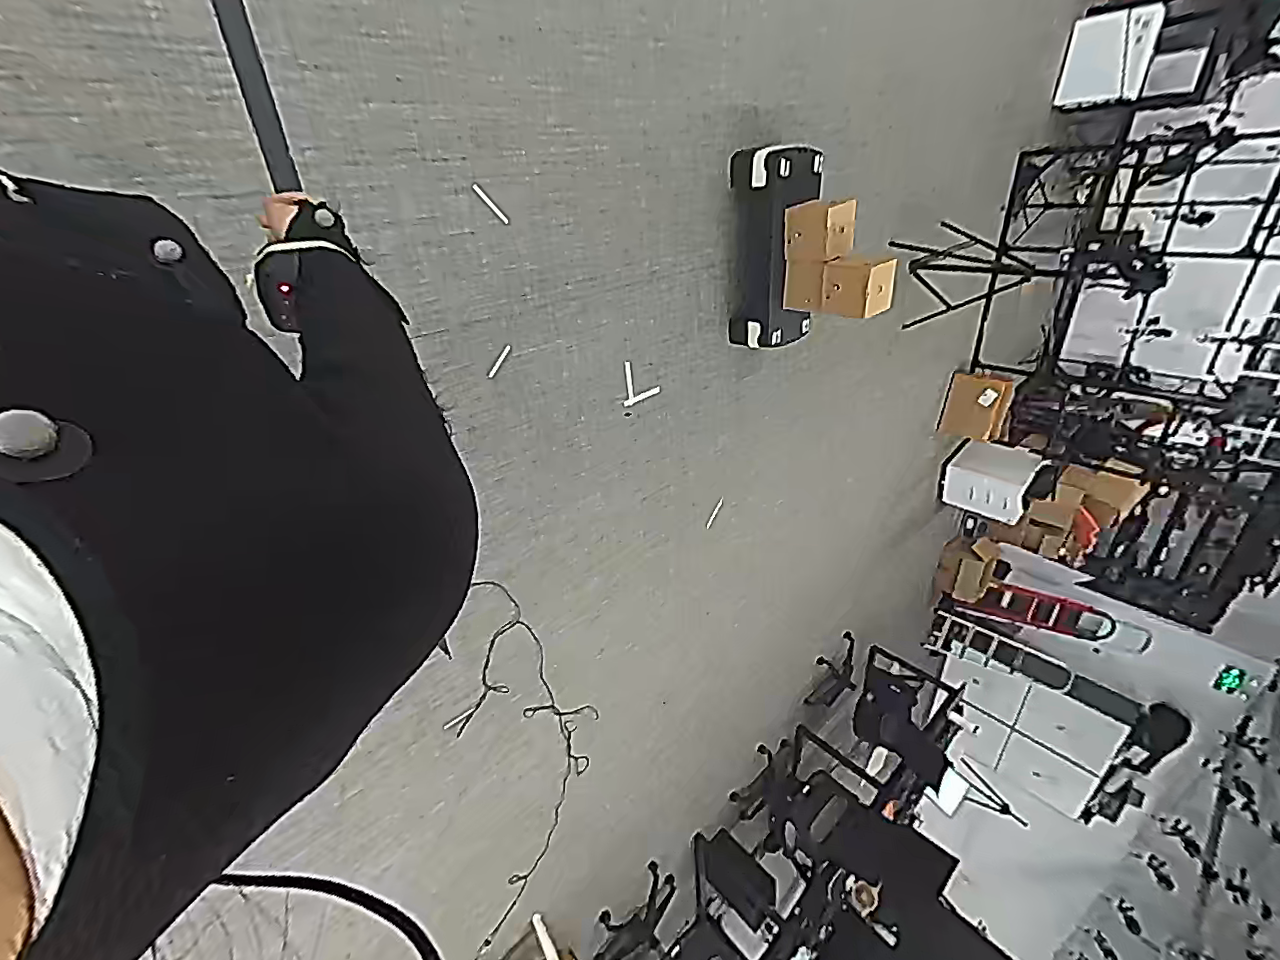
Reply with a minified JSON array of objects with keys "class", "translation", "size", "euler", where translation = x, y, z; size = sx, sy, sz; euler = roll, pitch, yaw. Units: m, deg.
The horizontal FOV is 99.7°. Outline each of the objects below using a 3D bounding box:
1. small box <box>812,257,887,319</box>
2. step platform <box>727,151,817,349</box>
[{"class":"small box","translation":[0.719,-0.667,1.864],"size":[0.179,0.176,0.168],"euler":[-29,128,-32]},{"class":"step platform","translation":[0.497,-0.853,2.054],"size":[0.286,0.204,0.684],"euler":[-27,126,-35]}]
